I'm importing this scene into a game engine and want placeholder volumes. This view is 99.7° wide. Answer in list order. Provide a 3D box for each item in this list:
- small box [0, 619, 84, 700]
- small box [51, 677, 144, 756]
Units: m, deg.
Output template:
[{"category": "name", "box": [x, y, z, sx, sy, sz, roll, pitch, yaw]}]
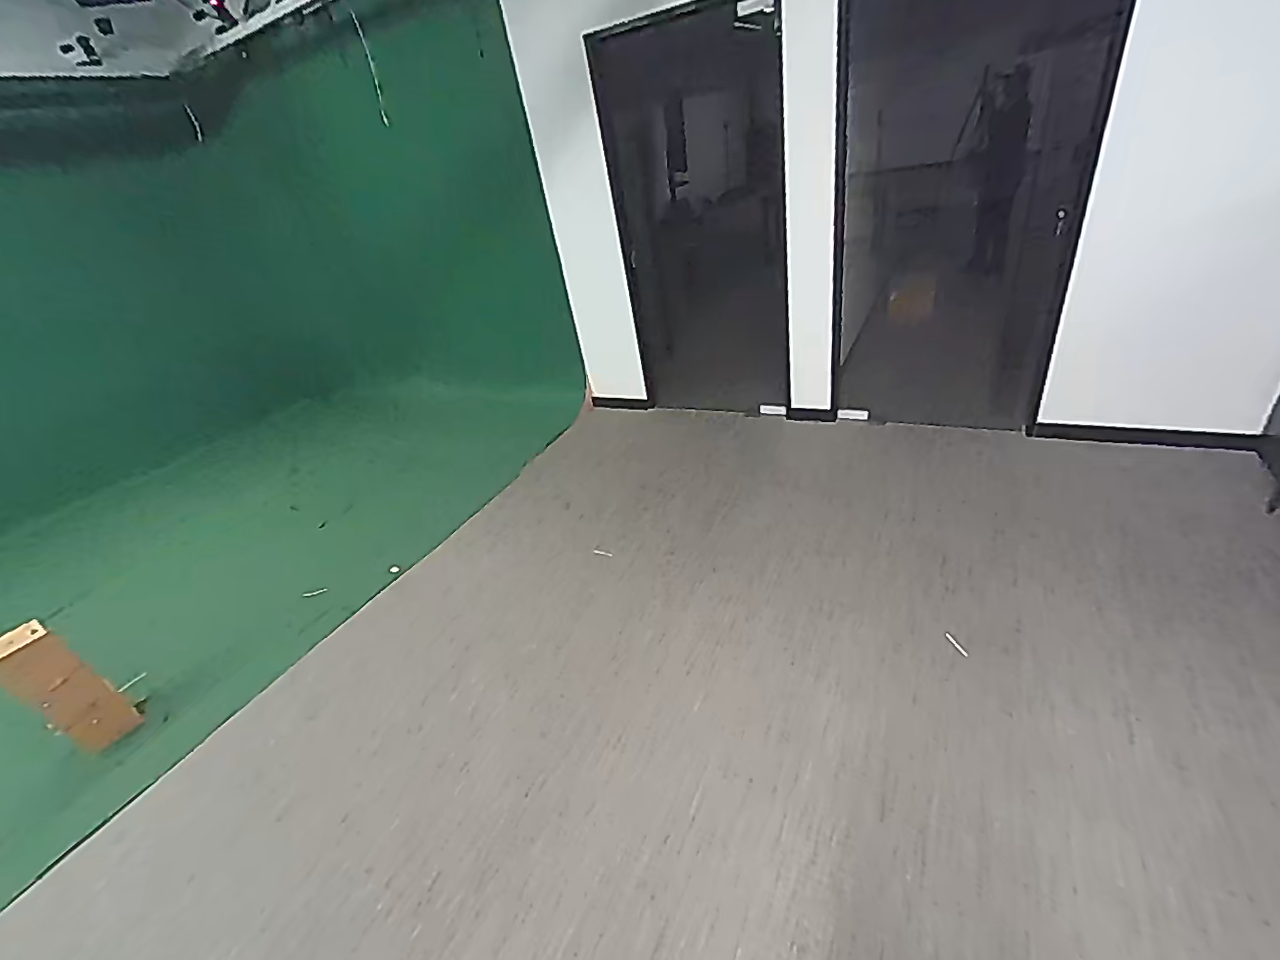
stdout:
[{"category": "small box", "box": [-2.070, 0.612, 1.837, 0.168, 0.176, 0.179, 10, 38, 31]}, {"category": "small box", "box": [-2.009, 0.882, 2.014, 0.168, 0.176, 0.179, 11, 38, 32]}]
